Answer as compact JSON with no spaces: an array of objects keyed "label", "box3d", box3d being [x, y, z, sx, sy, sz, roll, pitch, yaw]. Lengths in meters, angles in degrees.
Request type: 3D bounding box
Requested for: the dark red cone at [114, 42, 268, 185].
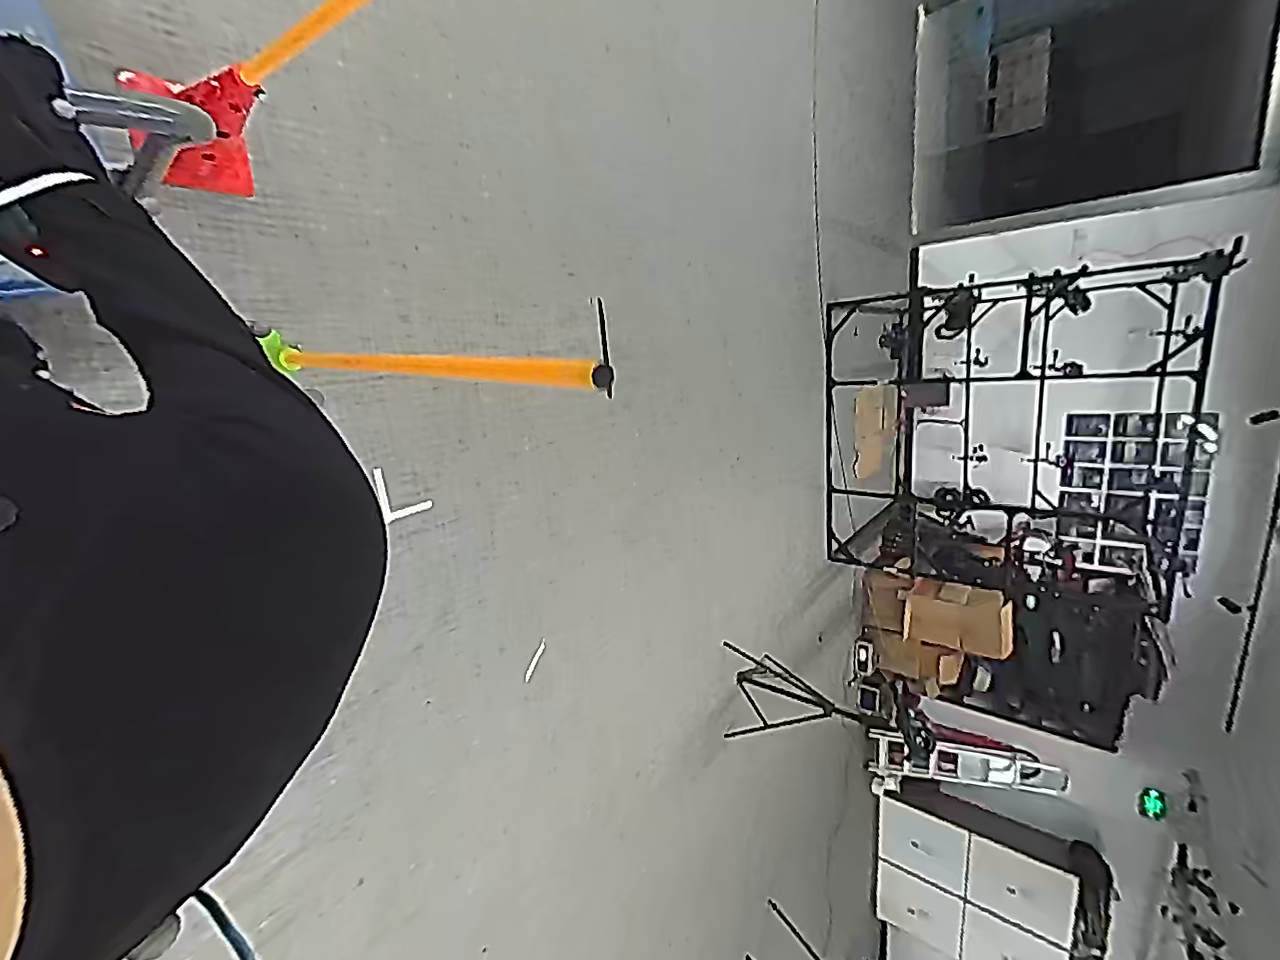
[{"label":"dark red cone","box3d":[-0.798,-0.719,1.016,0.201,0.394,0.202,-21,111,-51]}]
